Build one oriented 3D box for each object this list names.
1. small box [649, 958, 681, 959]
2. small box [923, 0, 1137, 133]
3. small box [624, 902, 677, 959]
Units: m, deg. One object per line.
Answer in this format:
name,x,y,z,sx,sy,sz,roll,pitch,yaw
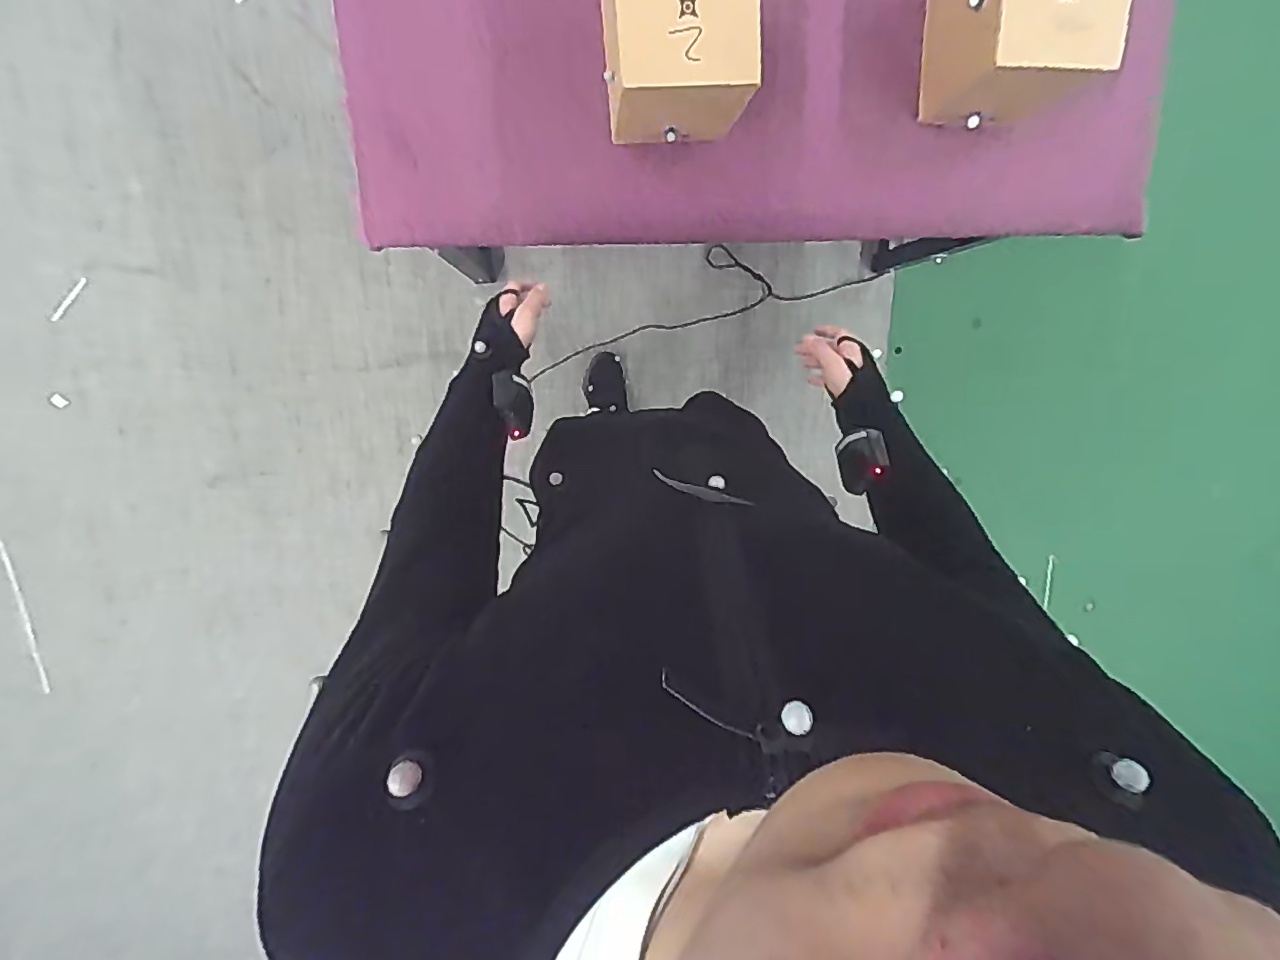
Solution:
small box,0.074,1.670,1.721,0.168,0.176,0.179,-6,103,-3
small box,0.504,-0.596,0.715,0.168,0.176,0.179,0,101,-4
small box,0.039,1.621,1.876,0.168,0.176,0.179,-8,103,-4
